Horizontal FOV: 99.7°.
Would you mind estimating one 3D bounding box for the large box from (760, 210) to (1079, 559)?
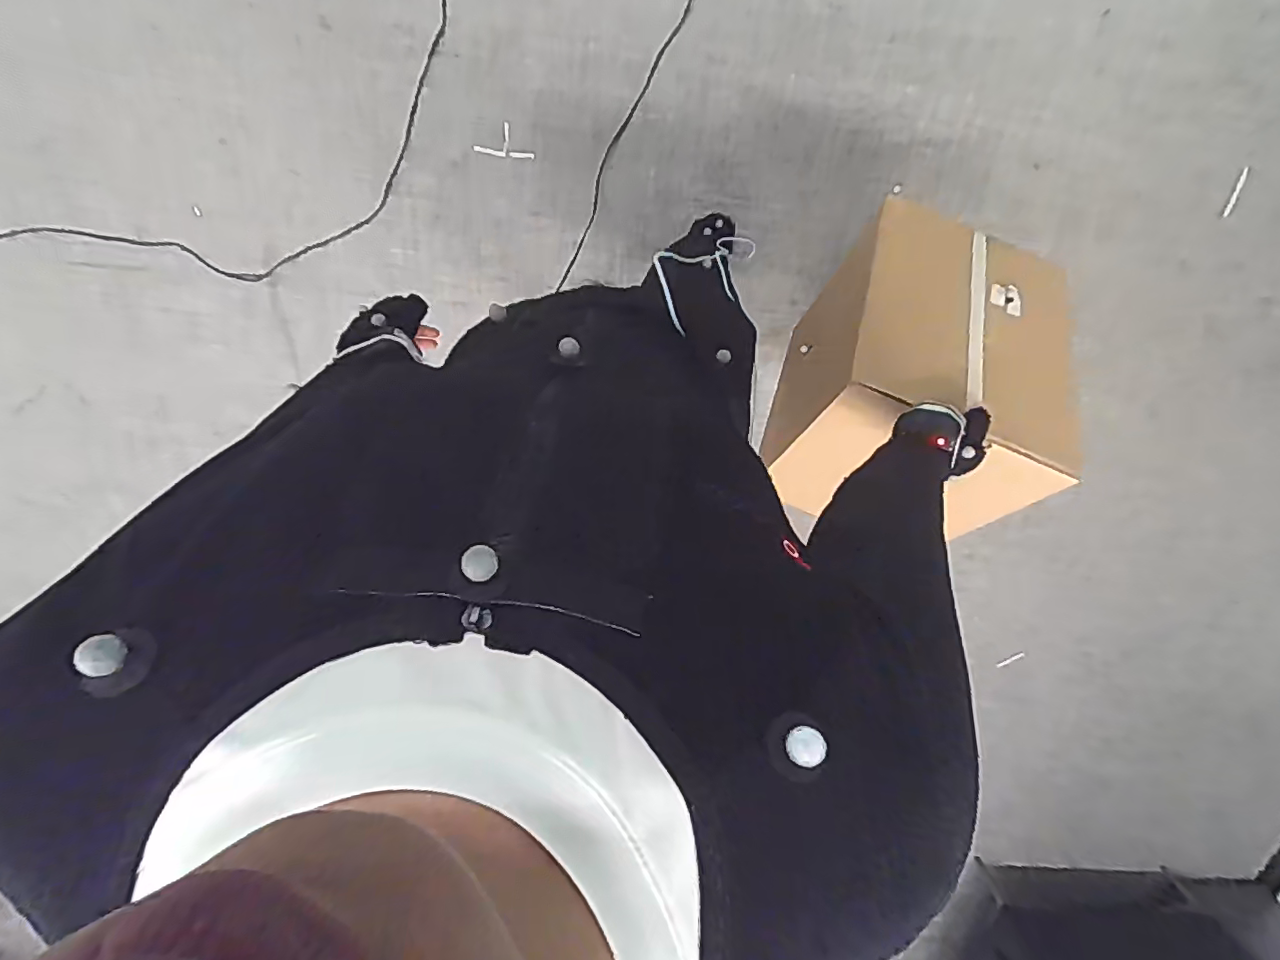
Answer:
[{"bbox_3d":[0.427,-0.141,0.885,0.320,0.408,0.320,23,150,-3],"label":"large box"}]
